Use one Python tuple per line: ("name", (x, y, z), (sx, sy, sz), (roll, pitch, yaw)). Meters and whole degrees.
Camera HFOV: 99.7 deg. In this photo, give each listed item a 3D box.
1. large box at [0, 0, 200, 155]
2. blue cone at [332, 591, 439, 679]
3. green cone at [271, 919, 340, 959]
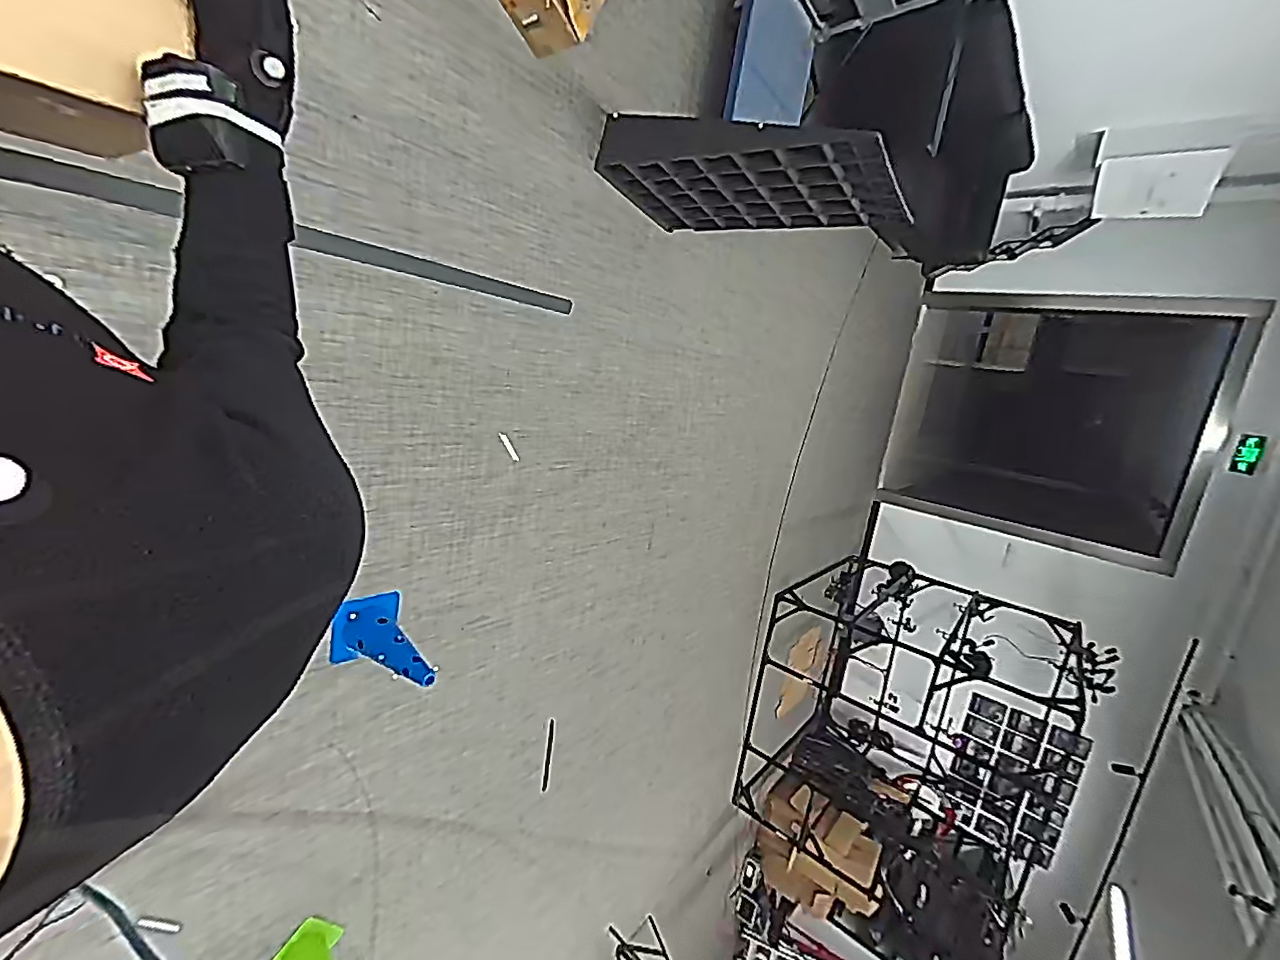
("large box", (-0.554, -0.430, 0.305), (0.408, 0.320, 0.320), (-10, 114, -52))
("blue cone", (-0.714, 0.482, 1.565), (0.192, 0.380, 0.193), (-1, 105, -54))
("green cone", (-0.969, 1.582, 1.649), (0.202, 0.368, 0.200), (-49, 139, -32))
